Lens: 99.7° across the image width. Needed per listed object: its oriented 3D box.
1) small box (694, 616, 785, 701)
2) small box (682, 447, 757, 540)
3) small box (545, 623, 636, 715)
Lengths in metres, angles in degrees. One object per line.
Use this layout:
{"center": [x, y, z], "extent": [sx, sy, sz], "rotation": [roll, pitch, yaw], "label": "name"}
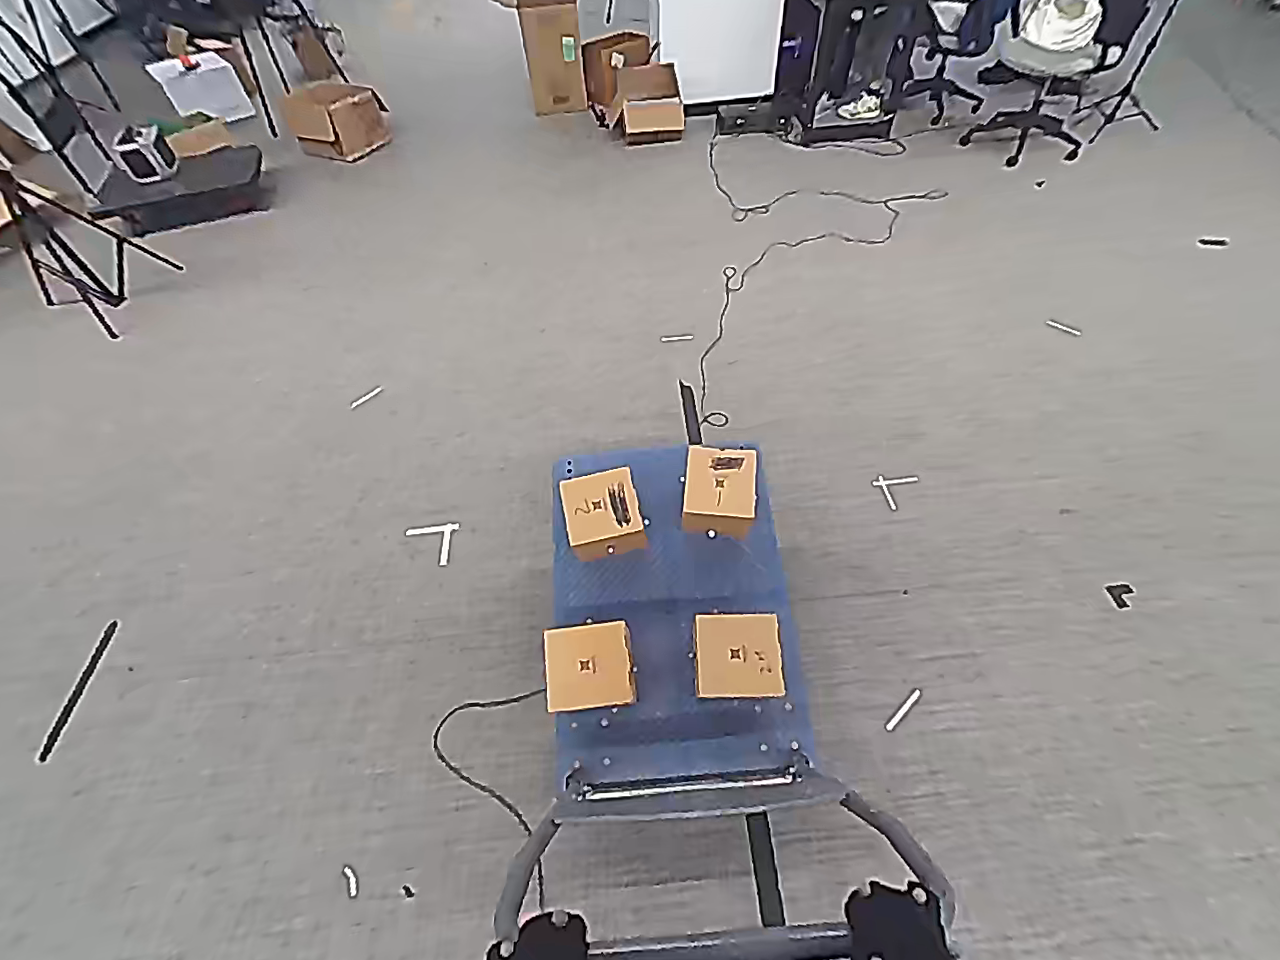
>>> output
{"center": [0.210, 0.398, 1.192], "extent": [0.179, 0.176, 0.168], "rotation": [-1, 67, 2], "label": "small box"}
{"center": [0.194, 0.038, 1.348], "extent": [0.168, 0.176, 0.179], "rotation": [5, 68, 5], "label": "small box"}
{"center": [-0.107, 0.423, 1.196], "extent": [0.179, 0.176, 0.168], "rotation": [-7, 66, -2], "label": "small box"}
